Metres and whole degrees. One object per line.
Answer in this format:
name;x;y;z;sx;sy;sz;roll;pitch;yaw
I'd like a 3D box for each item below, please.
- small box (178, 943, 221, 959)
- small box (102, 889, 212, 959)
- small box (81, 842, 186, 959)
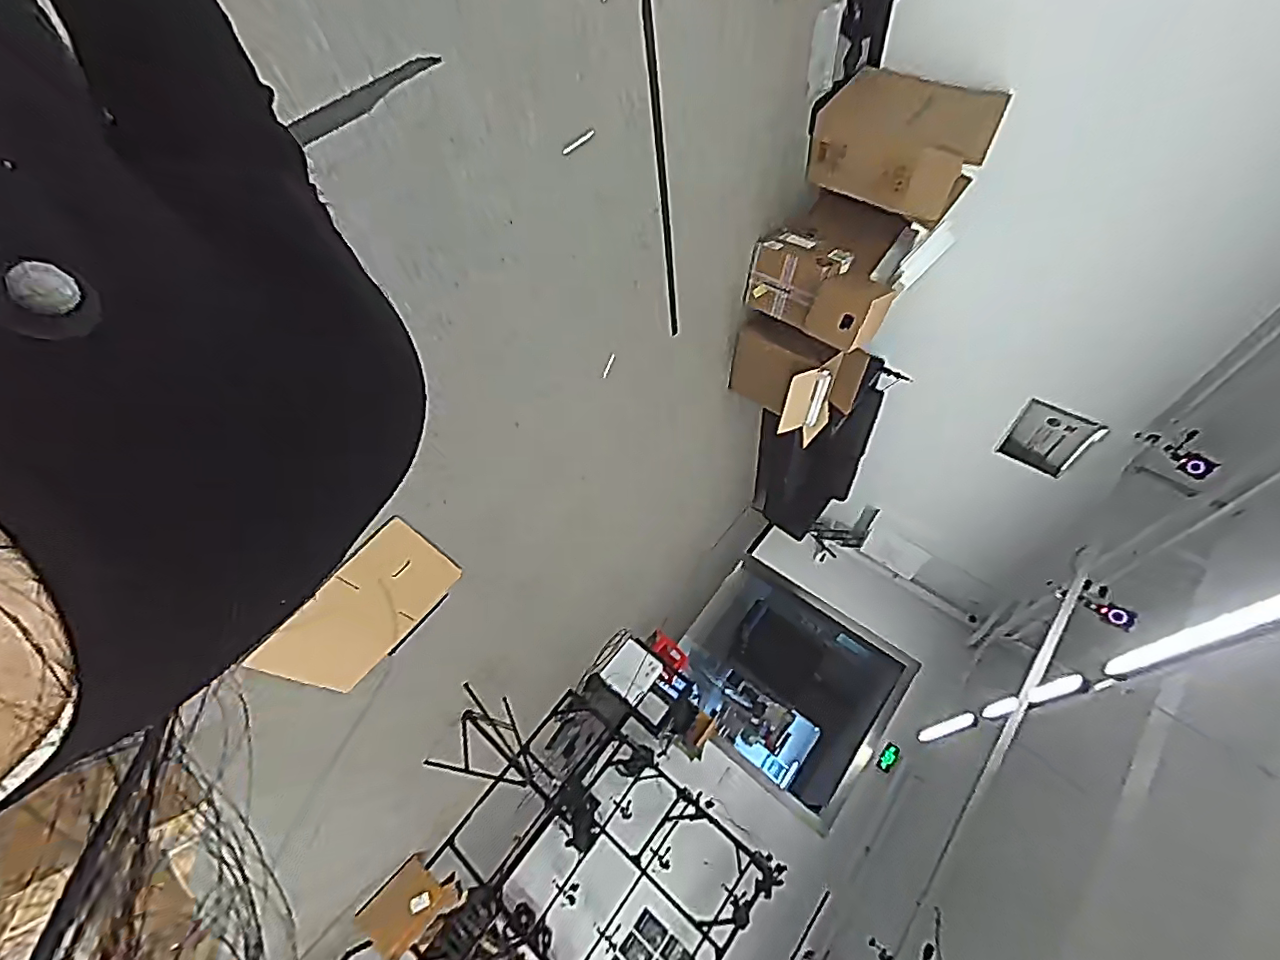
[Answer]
small box;-1.134;1.306;1.331;0.168;0.176;0.179;-7;126;-59
small box;-1.257;1.228;1.403;0.168;0.176;0.179;-7;126;-59
small box;-1.381;1.145;1.472;0.168;0.176;0.179;-7;125;-59
